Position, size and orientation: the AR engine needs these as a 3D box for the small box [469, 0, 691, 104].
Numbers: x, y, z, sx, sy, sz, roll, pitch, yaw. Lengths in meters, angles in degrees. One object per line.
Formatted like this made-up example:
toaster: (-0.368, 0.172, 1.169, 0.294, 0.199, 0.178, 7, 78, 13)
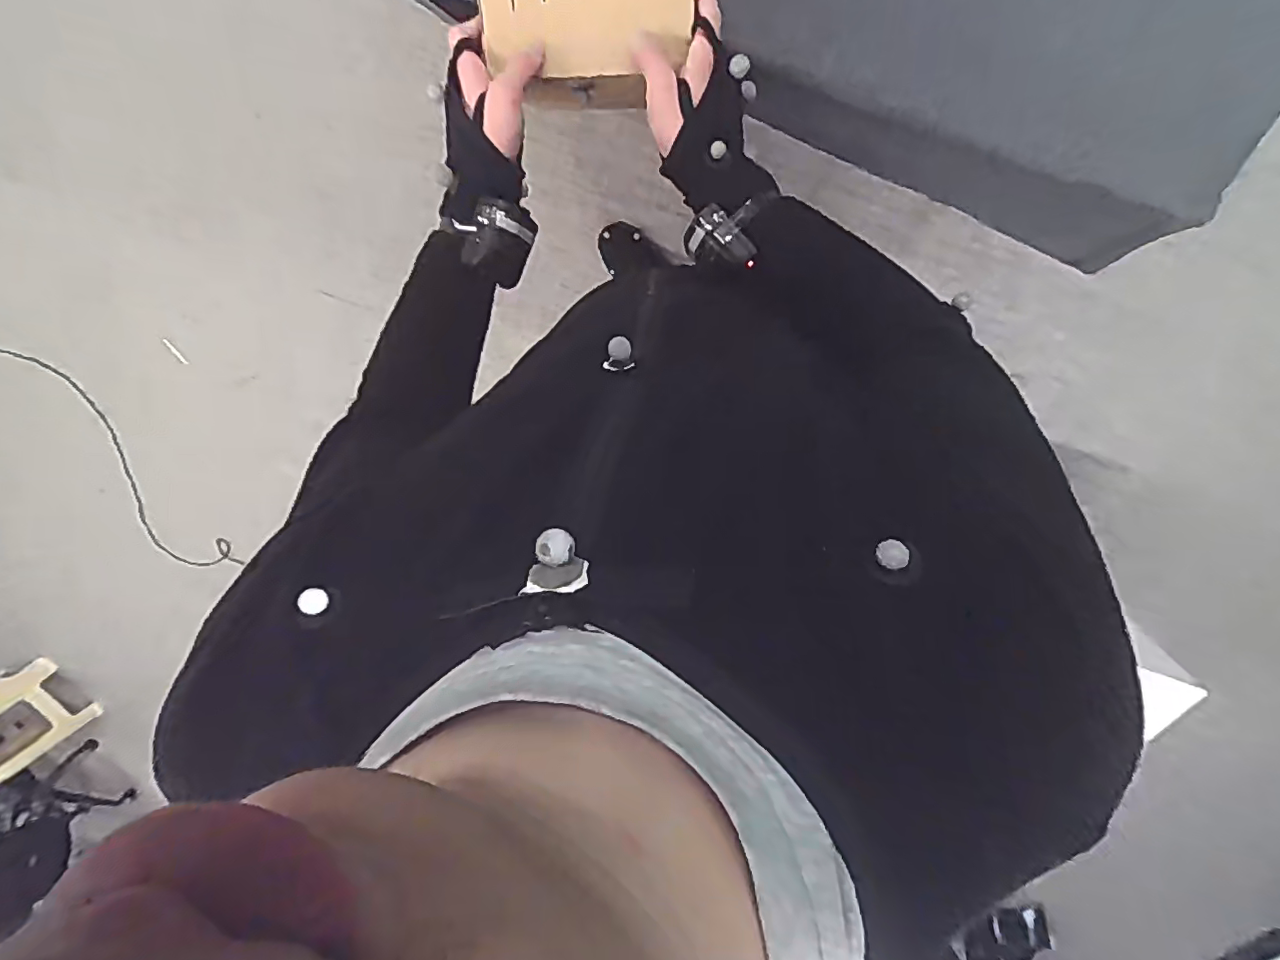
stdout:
small box: (-0.043, -0.442, 0.475, 0.179, 0.176, 0.168, 1, 117, 4)
